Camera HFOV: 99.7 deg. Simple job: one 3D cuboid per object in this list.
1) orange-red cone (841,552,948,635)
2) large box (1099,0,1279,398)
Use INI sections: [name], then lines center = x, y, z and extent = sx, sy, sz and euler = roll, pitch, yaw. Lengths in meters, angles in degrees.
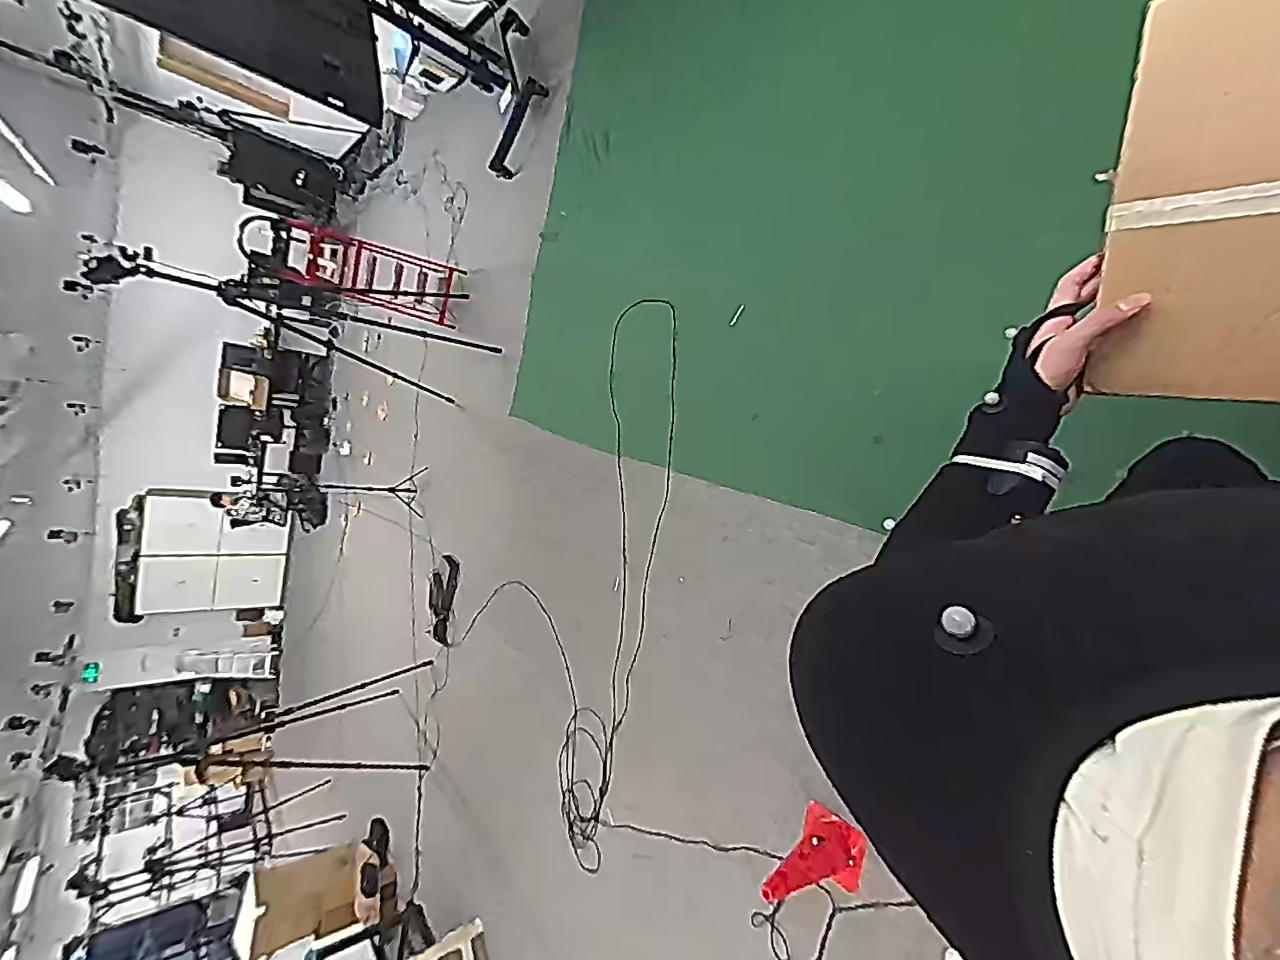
[orange-red cone]
center = 0.667, 0.323, 1.512
extent = 0.199, 0.360, 0.198
euler = 30, 108, 48
[large box]
center = 0.673, -0.238, 0.438
extent = 0.408, 0.320, 0.320
euler = 13, 114, 45
